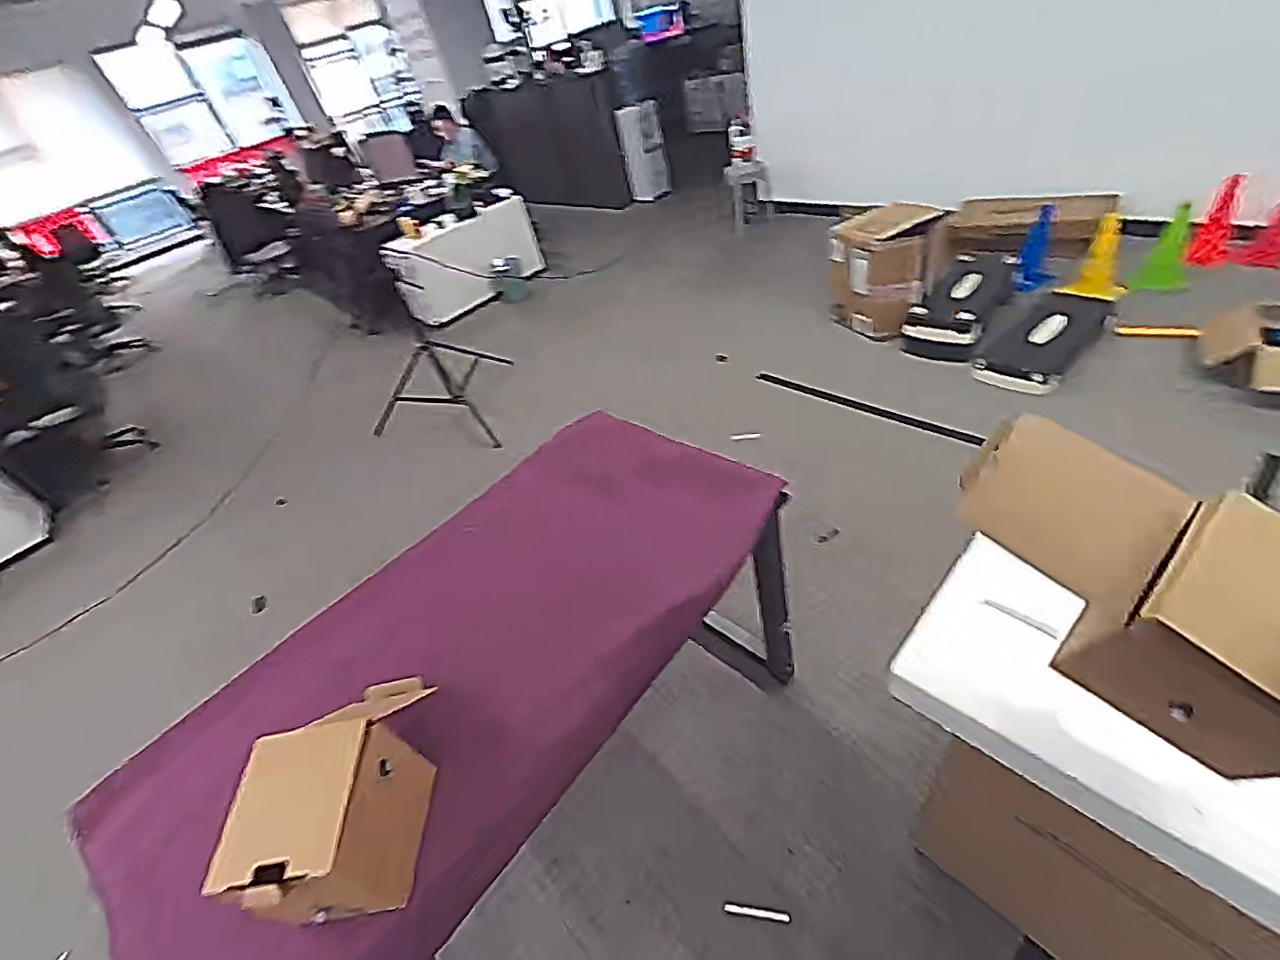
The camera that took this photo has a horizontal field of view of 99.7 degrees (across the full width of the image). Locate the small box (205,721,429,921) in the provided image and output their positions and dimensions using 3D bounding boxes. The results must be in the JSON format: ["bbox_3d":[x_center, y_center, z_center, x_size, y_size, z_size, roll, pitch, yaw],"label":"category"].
[{"bbox_3d":[-0.410,0.458,0.728,0.168,0.176,0.179,-14,40,6],"label":"small box"}]
